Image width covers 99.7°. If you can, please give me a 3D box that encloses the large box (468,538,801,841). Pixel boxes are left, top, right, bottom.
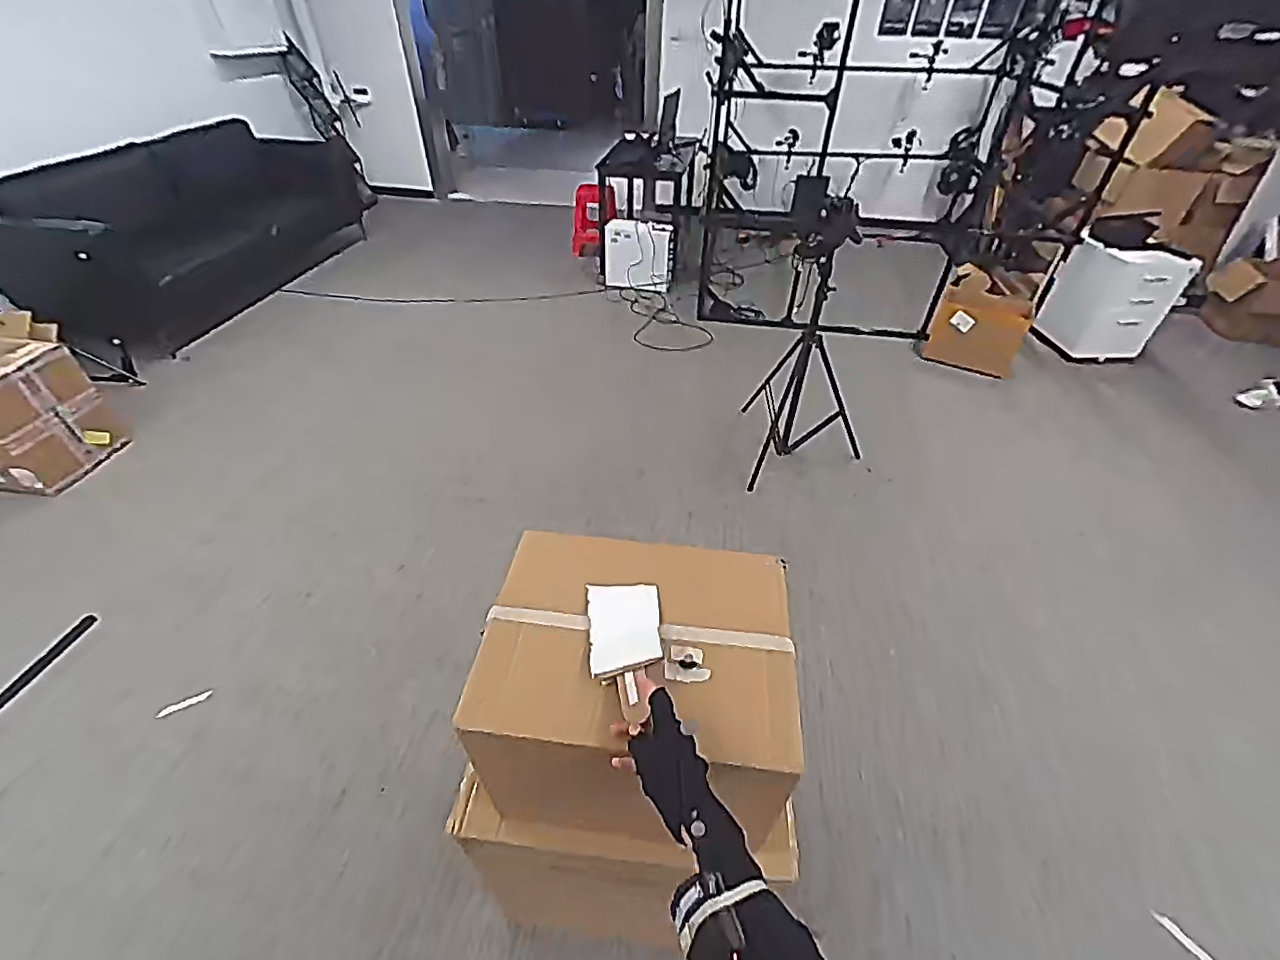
[{"bbox_3d":[-0.002,0.320,0.839,0.408,0.320,0.320,5,42,4],"label":"large box"}]
